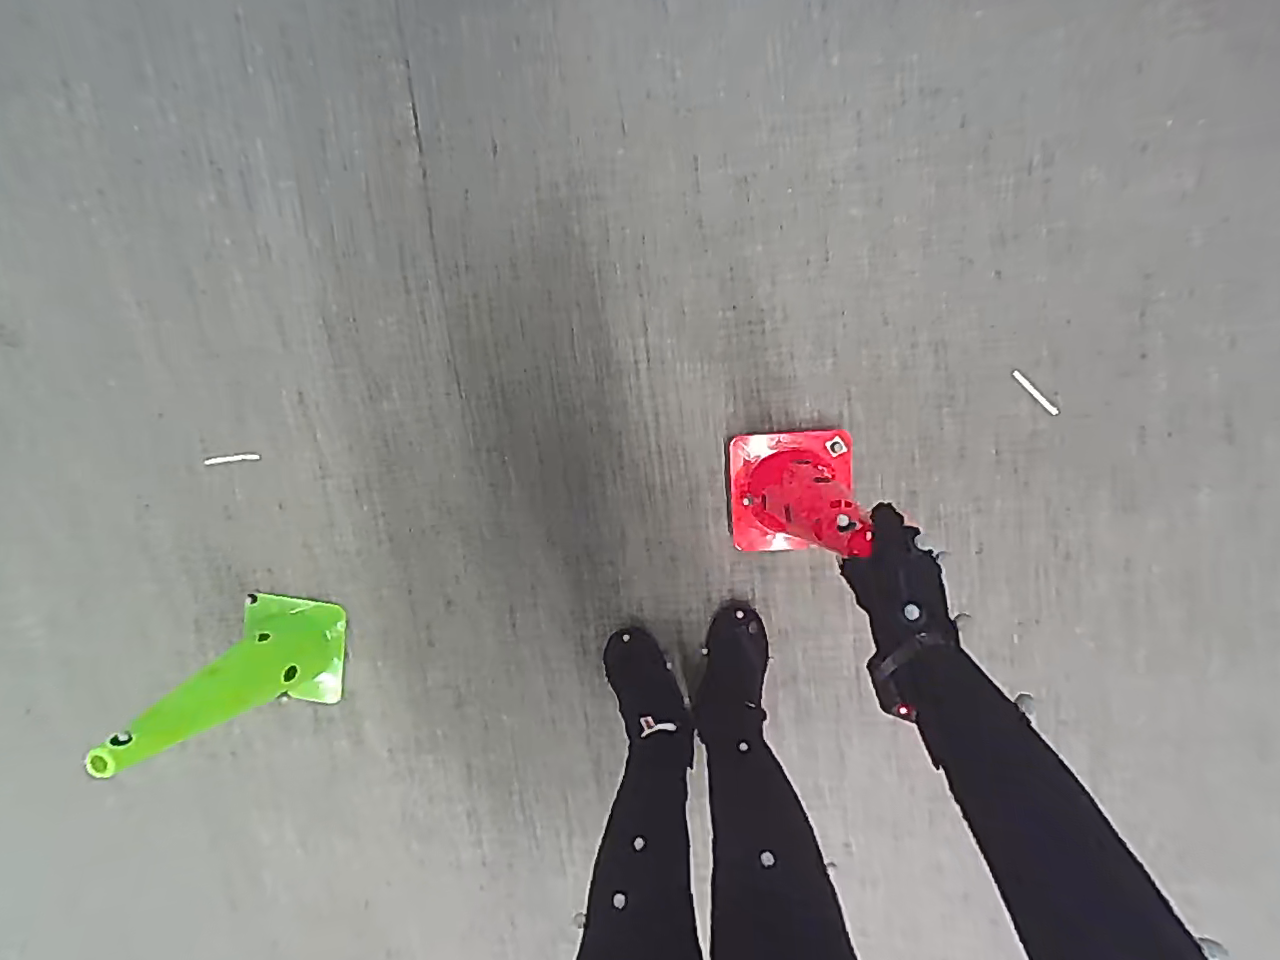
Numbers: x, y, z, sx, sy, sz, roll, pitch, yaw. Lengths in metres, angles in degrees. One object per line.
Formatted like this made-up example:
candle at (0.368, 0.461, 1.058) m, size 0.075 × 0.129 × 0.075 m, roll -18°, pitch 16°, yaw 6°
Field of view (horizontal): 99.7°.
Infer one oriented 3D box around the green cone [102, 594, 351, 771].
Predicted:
green cone at (-0.673, 0.344, 0.878) m, size 0.202 × 0.368 × 0.200 m, roll 6°, pitch 97°, yaw 3°
